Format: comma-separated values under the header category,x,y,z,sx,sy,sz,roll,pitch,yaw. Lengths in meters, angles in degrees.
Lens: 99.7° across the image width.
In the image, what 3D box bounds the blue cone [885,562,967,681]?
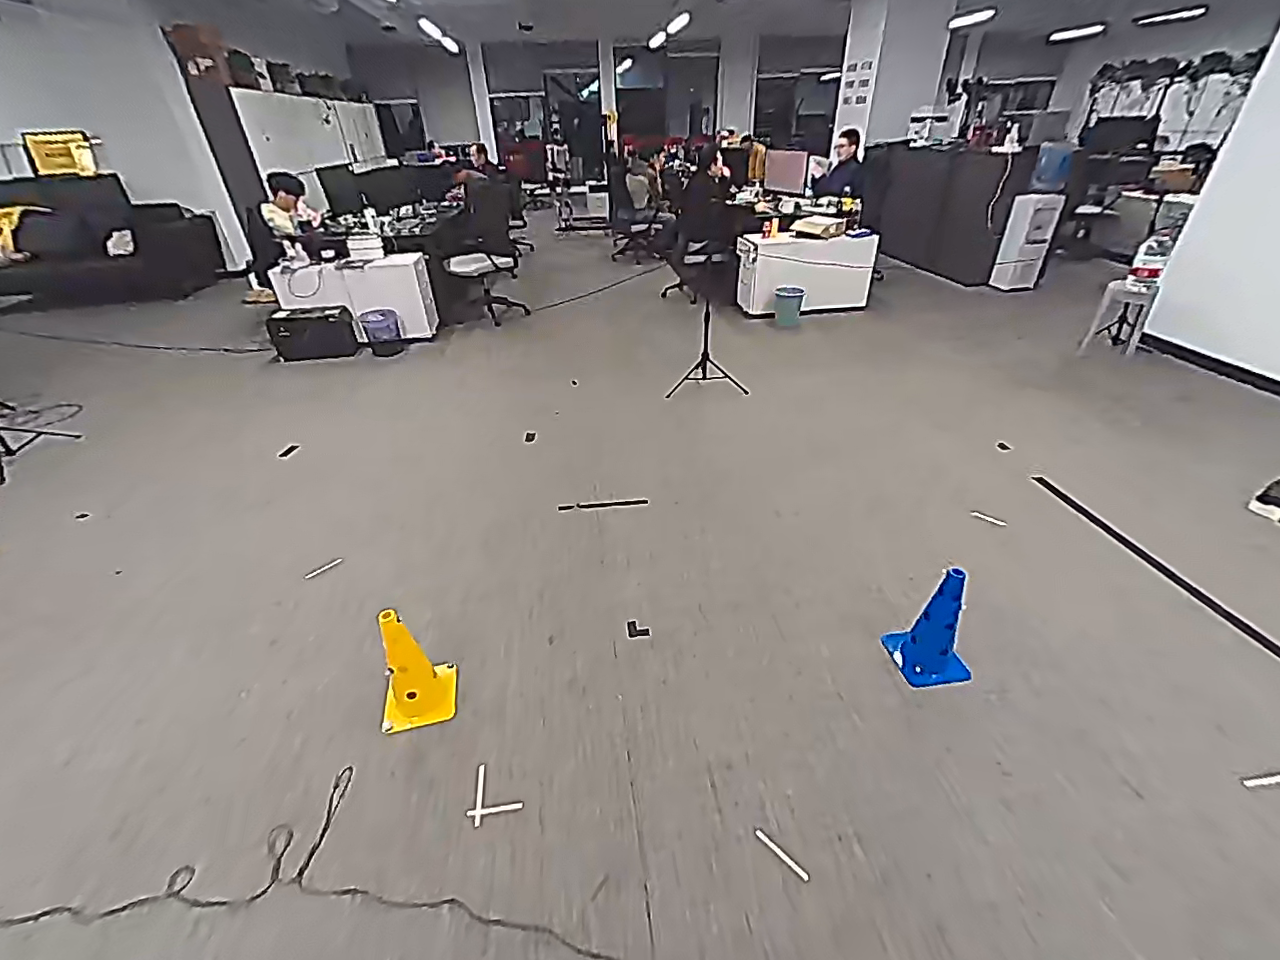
category,x,y,z,sx,sy,sz,roll,pitch,yaw
blue cone,0.879,0.401,1.585,0.193,0.380,0.192,-5,32,-4
